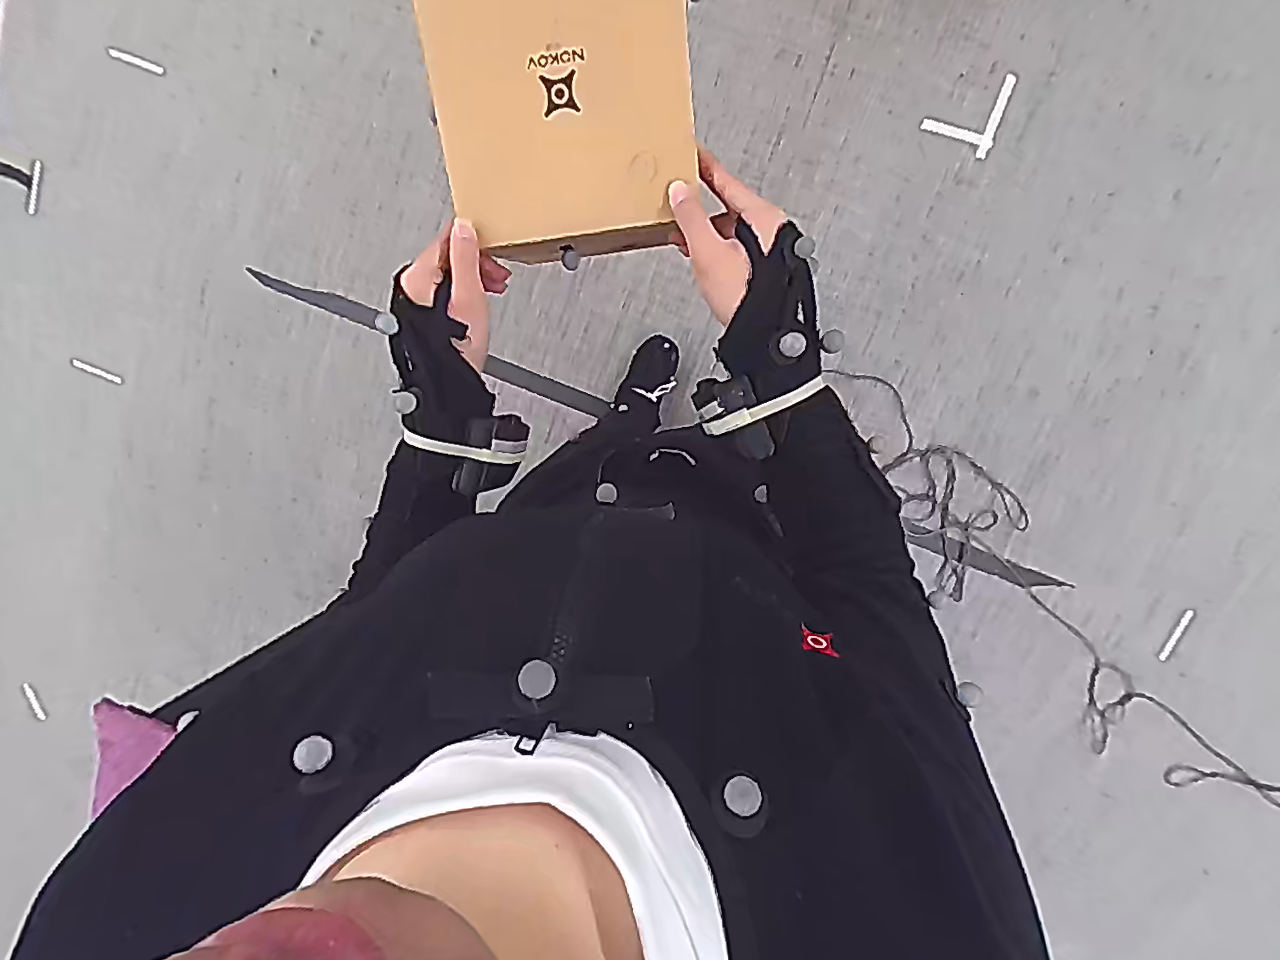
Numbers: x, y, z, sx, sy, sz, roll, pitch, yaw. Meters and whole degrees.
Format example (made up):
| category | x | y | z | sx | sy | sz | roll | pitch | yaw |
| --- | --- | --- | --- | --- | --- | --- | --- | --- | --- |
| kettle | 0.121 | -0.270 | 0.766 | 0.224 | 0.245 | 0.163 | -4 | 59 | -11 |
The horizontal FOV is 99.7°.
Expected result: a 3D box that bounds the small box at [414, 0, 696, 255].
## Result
| category | x | y | z | sx | sy | sz | roll | pitch | yaw |
| --- | --- | --- | --- | --- | --- | --- | --- | --- | --- |
| small box | -0.045 | -0.275 | 0.410 | 0.168 | 0.176 | 0.179 | -5 | 107 | 6 |
